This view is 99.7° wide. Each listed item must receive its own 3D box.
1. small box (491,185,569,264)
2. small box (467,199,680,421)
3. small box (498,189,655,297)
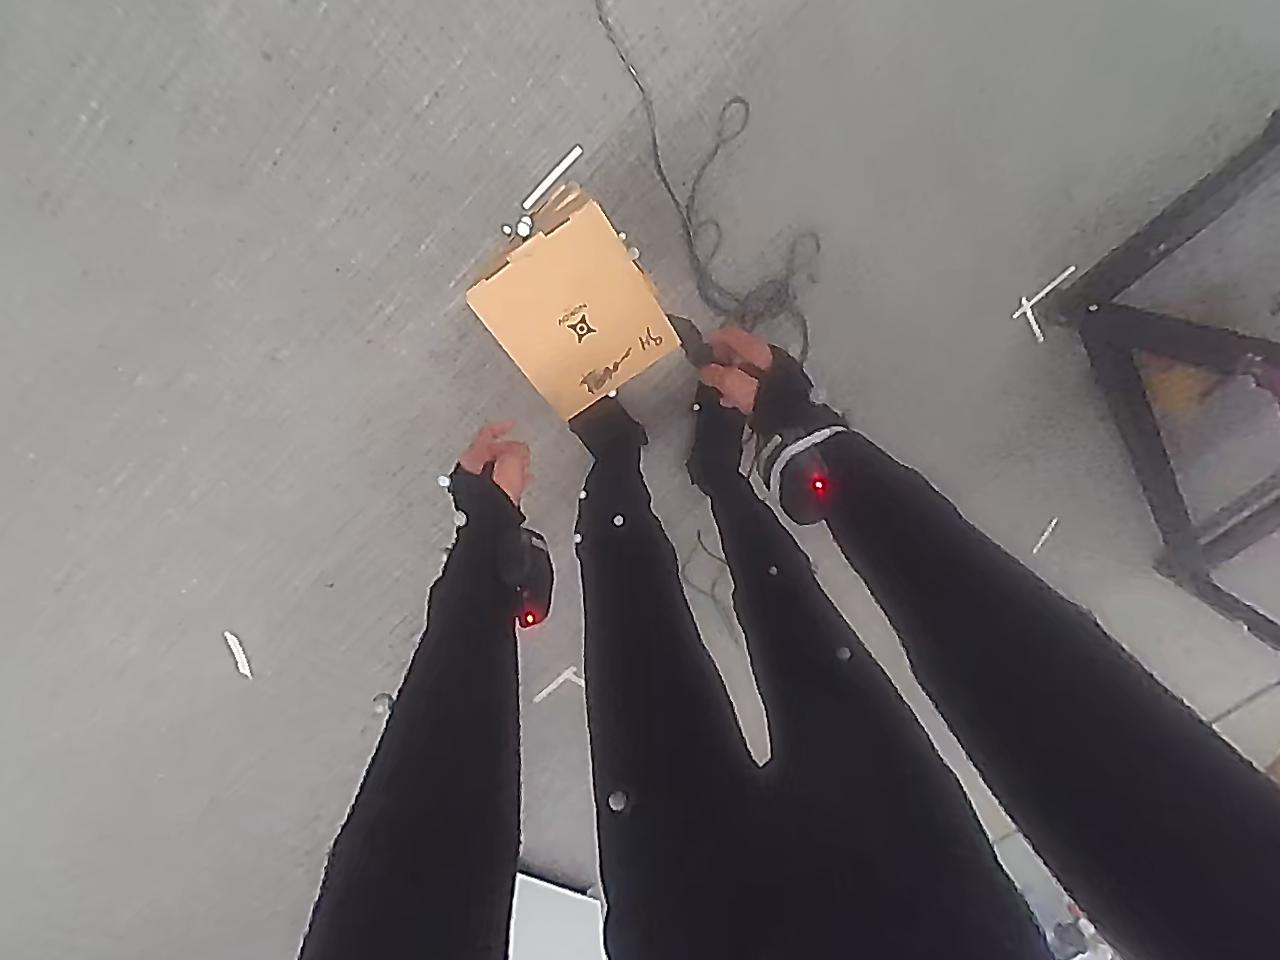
[{"bbox_3d":[-0.129,-0.371,0.921,0.168,0.176,0.179,-40,119,14],"label":"small box"},{"bbox_3d":[-0.078,-0.206,0.644,0.168,0.176,0.179,-32,119,9],"label":"small box"},{"bbox_3d":[-0.103,-0.291,0.783,0.179,0.176,0.168,-39,119,13],"label":"small box"}]
